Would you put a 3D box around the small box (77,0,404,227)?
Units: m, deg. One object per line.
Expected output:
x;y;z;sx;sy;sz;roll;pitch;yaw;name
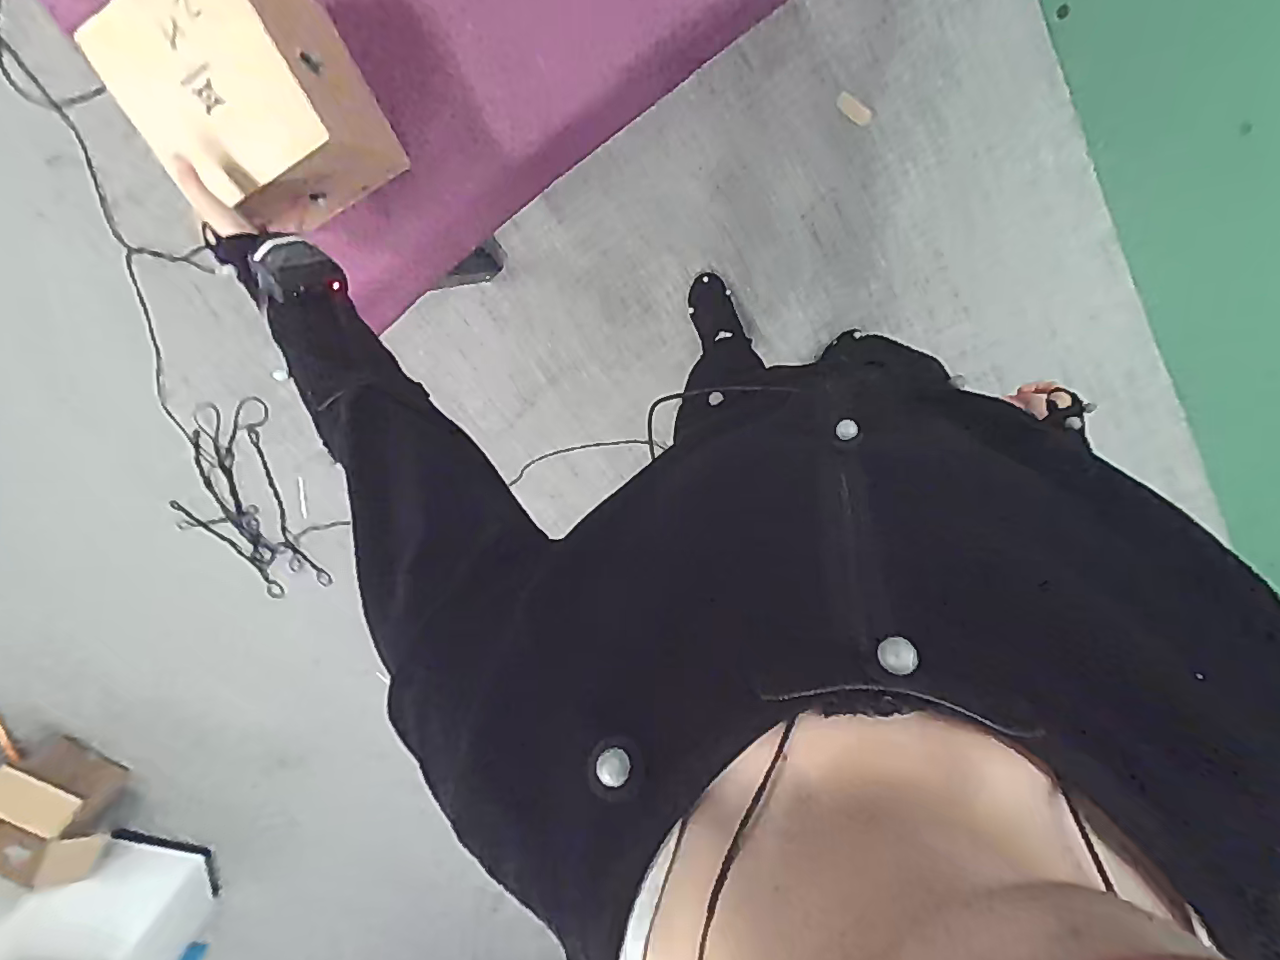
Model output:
-0.386;-0.385;0.563;0.168;0.176;0.179;-23;109;12;small box

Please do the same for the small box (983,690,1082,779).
1.236;0.799;1.718;0.168;0.176;0.179;-34;107;17;small box
